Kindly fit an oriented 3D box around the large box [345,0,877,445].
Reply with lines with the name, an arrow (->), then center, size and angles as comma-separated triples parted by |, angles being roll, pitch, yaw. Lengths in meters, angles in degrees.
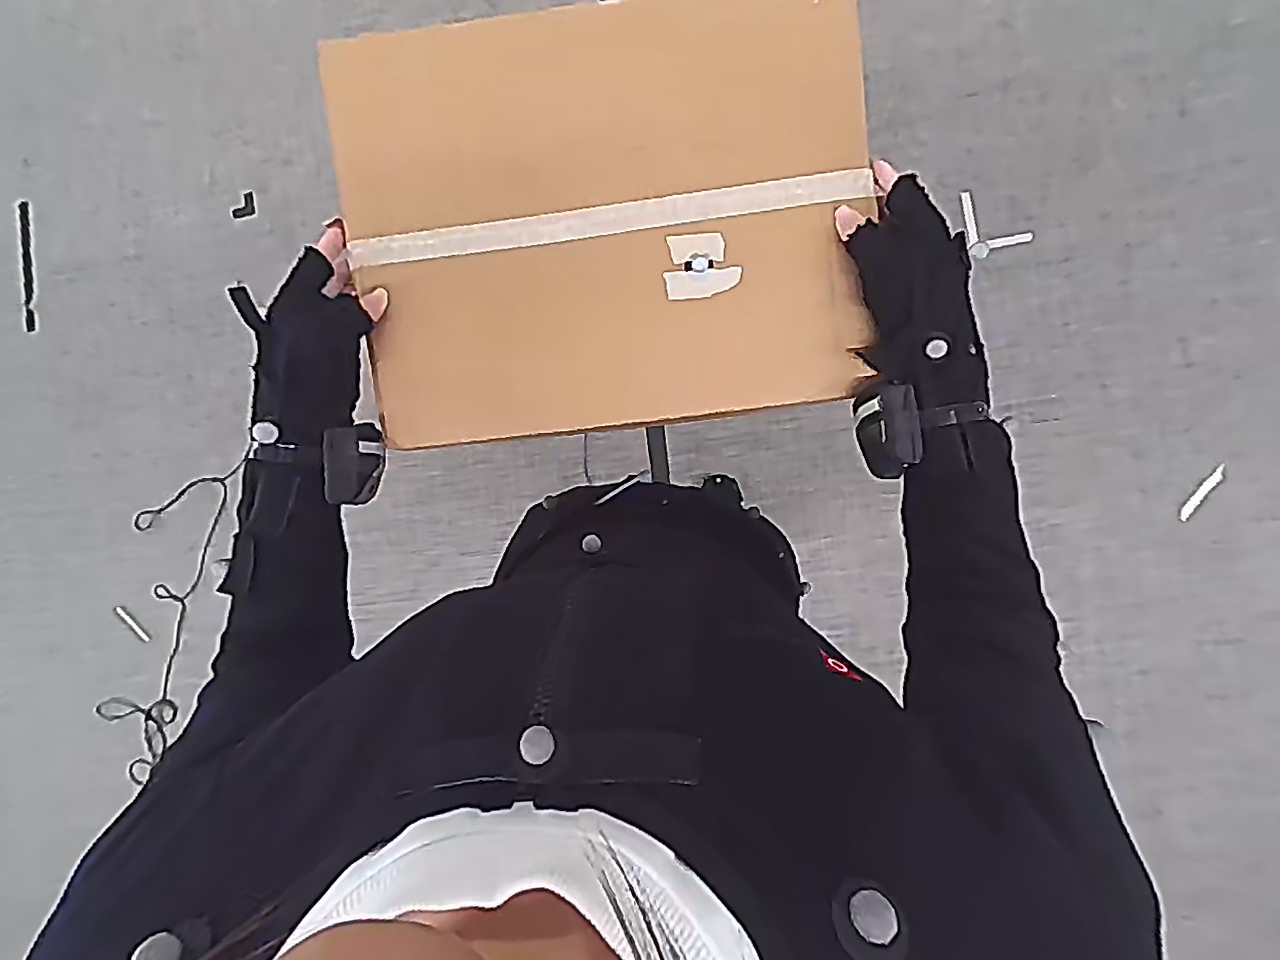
large box -> -0.019, -0.219, 0.582 | 0.408, 0.320, 0.320 | -7, 96, 2
